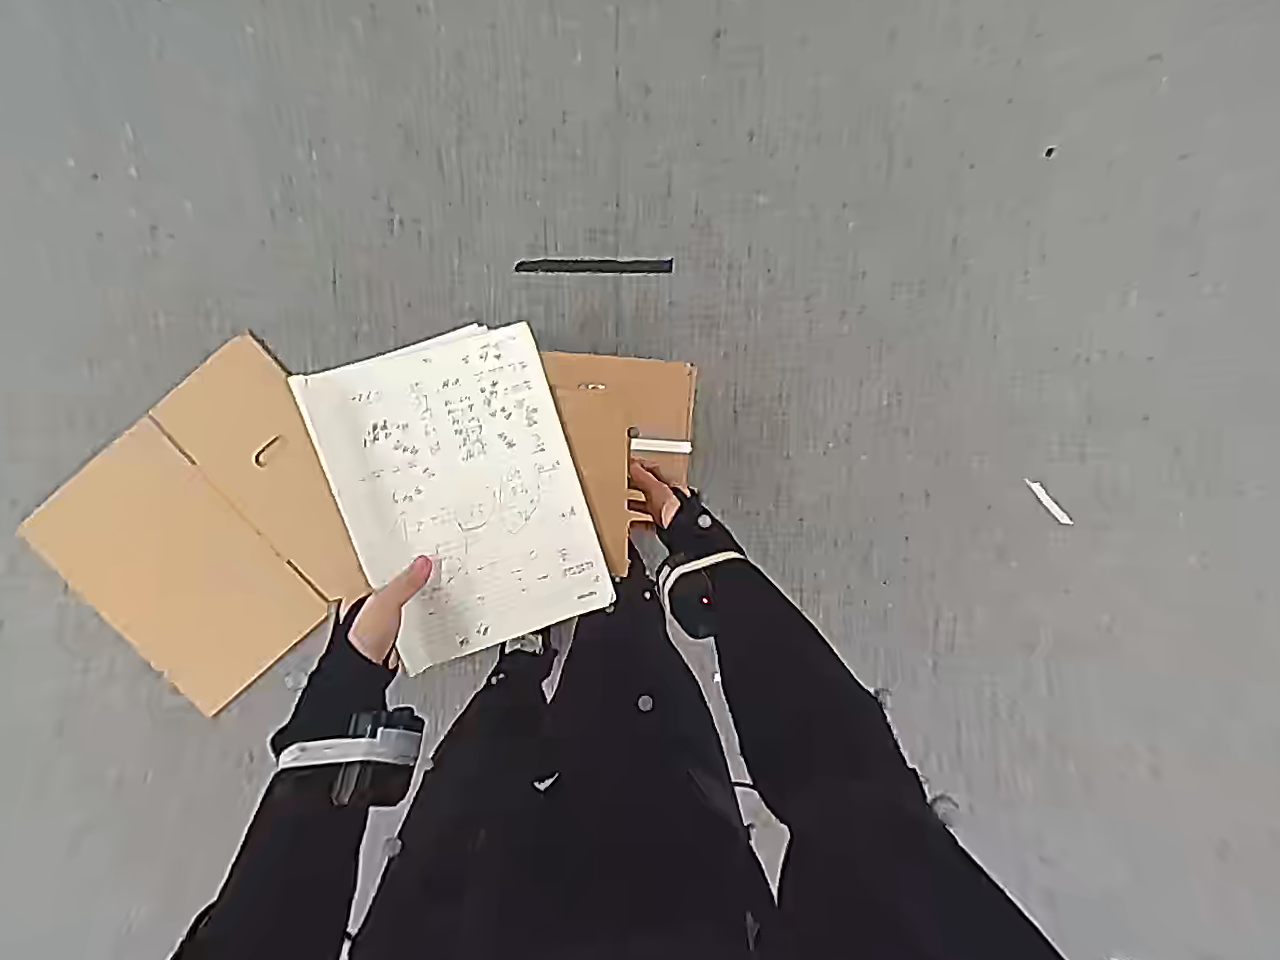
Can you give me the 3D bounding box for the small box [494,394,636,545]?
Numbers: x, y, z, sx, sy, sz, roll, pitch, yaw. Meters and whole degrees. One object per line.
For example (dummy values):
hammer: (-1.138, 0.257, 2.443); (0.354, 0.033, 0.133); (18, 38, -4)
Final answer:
small box: (-0.094, -0.019, 0.732); (0.168, 0.176, 0.179); (3, 95, -4)
